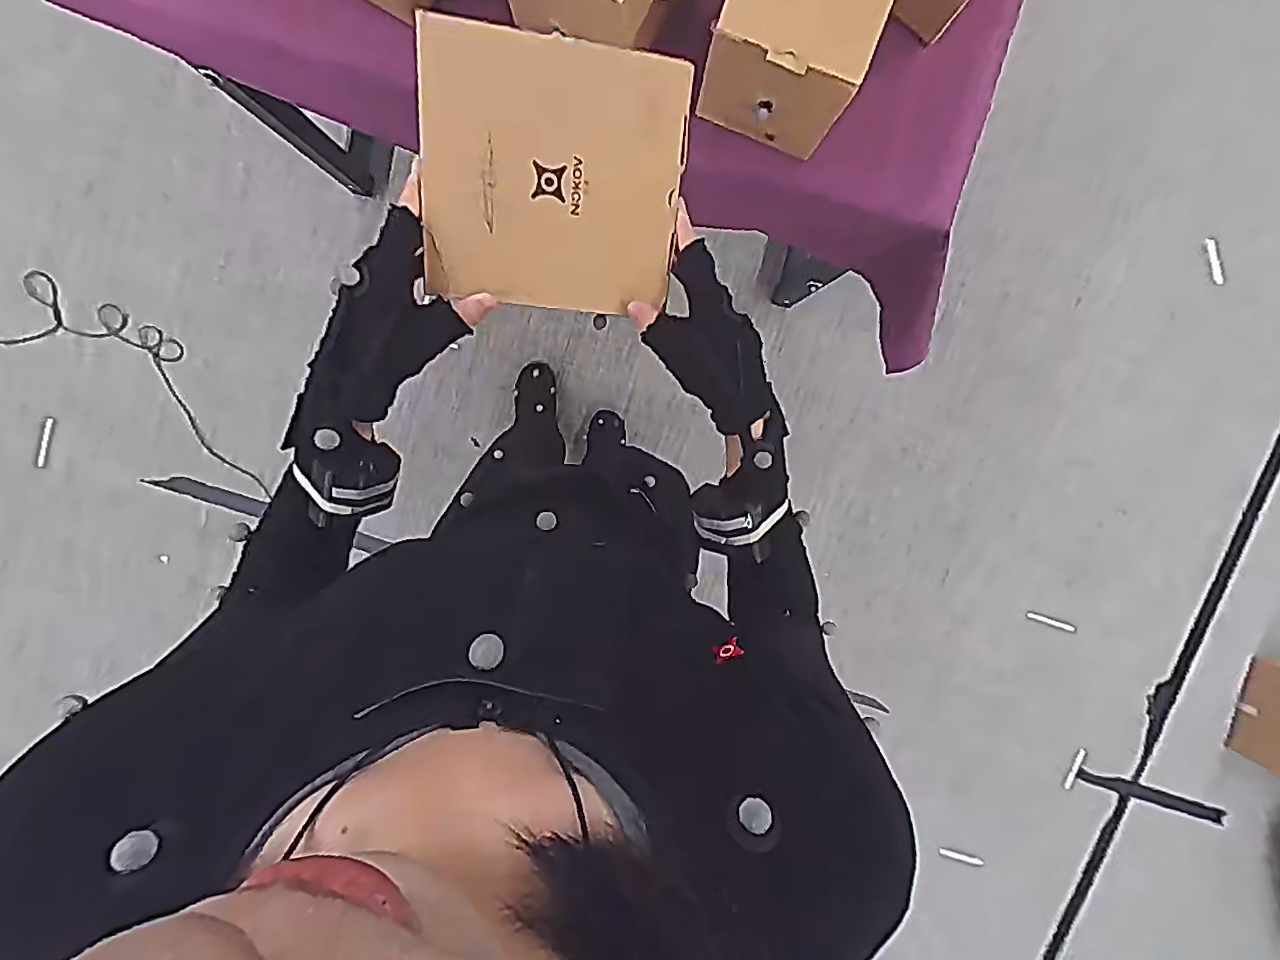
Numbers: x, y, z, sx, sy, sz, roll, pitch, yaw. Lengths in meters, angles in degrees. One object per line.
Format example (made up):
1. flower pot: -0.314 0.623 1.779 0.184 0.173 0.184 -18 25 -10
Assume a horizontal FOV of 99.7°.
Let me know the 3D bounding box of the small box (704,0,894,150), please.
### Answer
1. small box: 0.183 -0.529 0.629 0.168 0.176 0.179 21 97 -5
